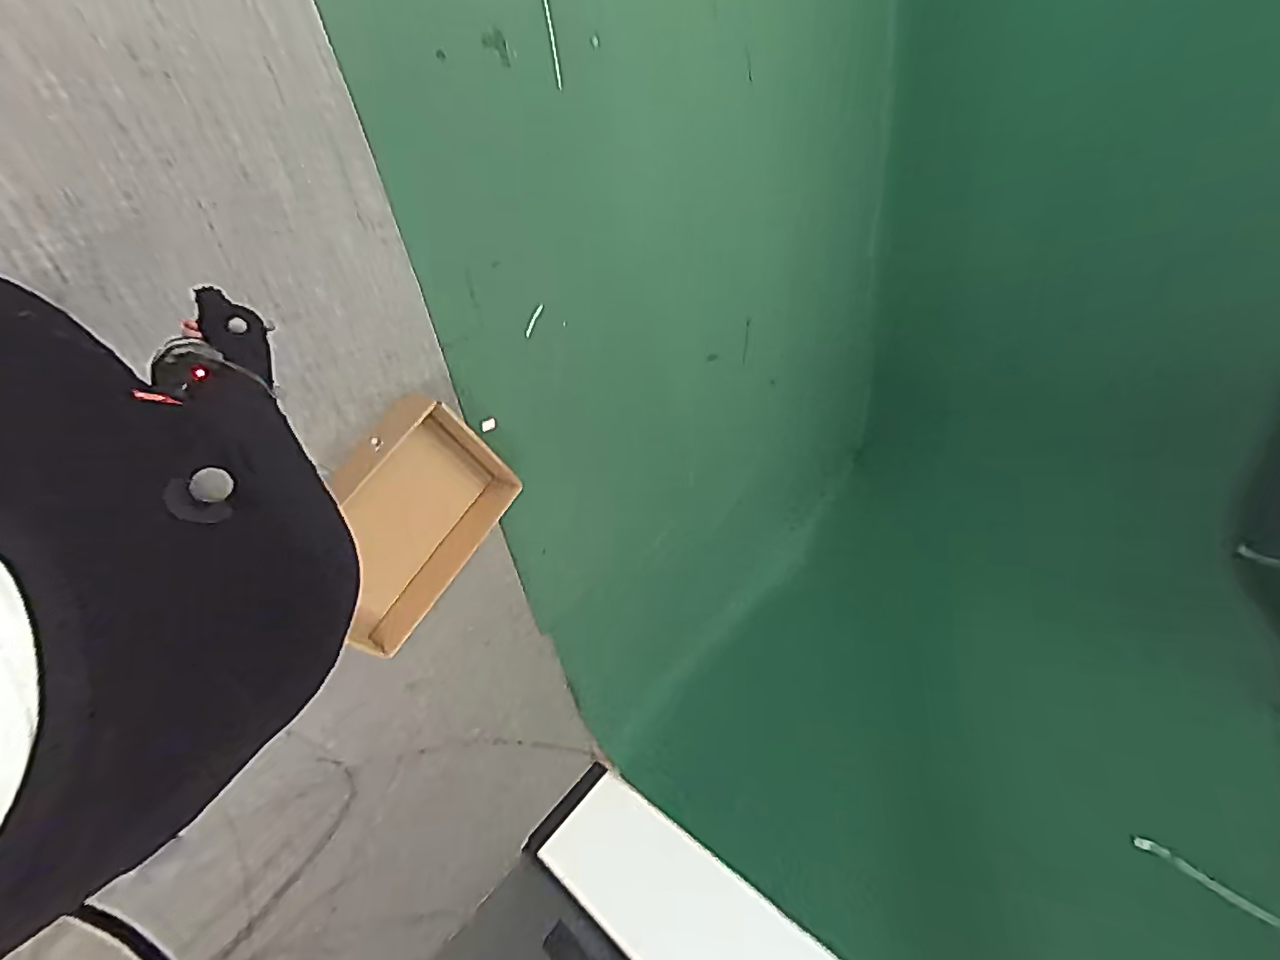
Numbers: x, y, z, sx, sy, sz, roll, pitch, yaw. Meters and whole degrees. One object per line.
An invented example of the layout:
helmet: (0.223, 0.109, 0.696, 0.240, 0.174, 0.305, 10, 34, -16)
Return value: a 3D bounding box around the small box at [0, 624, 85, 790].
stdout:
small box: (-0.951, 0.336, 0.766, 0.179, 0.176, 0.168, -29, 124, -41)
